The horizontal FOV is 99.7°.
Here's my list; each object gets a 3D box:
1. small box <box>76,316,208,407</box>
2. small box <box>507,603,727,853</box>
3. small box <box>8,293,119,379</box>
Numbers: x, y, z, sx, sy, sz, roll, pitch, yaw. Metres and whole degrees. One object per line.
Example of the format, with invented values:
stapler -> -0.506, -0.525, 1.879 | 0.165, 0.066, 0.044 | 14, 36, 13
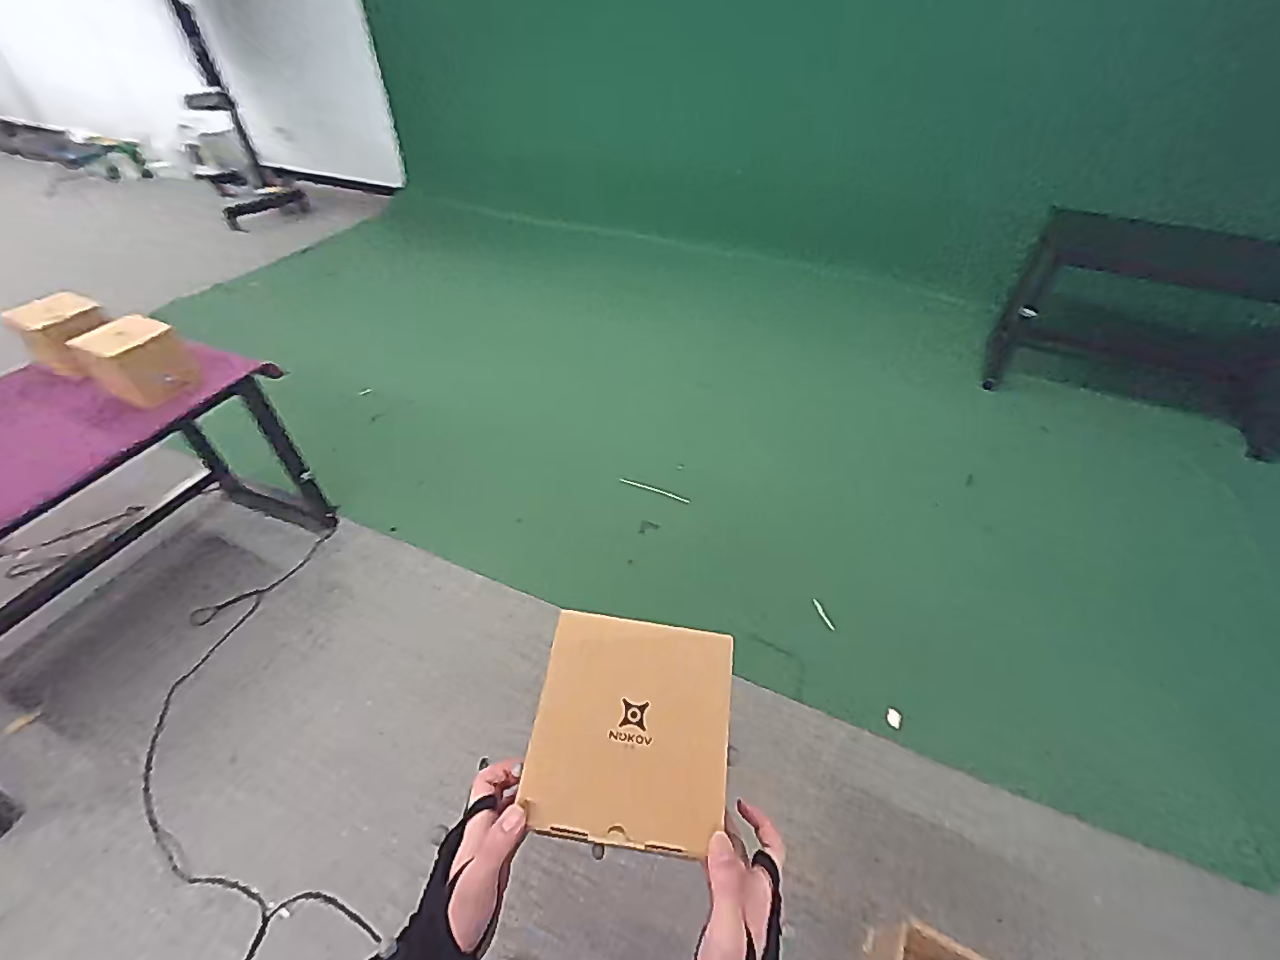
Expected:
small box -> -1.350, -0.322, 1.477 | 0.179, 0.176, 0.168 | 19, 48, 17
small box -> -0.018, 0.241, 0.522 | 0.168, 0.176, 0.179 | 9, 57, 1
small box -> -1.638, -0.417, 1.573 | 0.179, 0.176, 0.168 | 19, 48, 18
